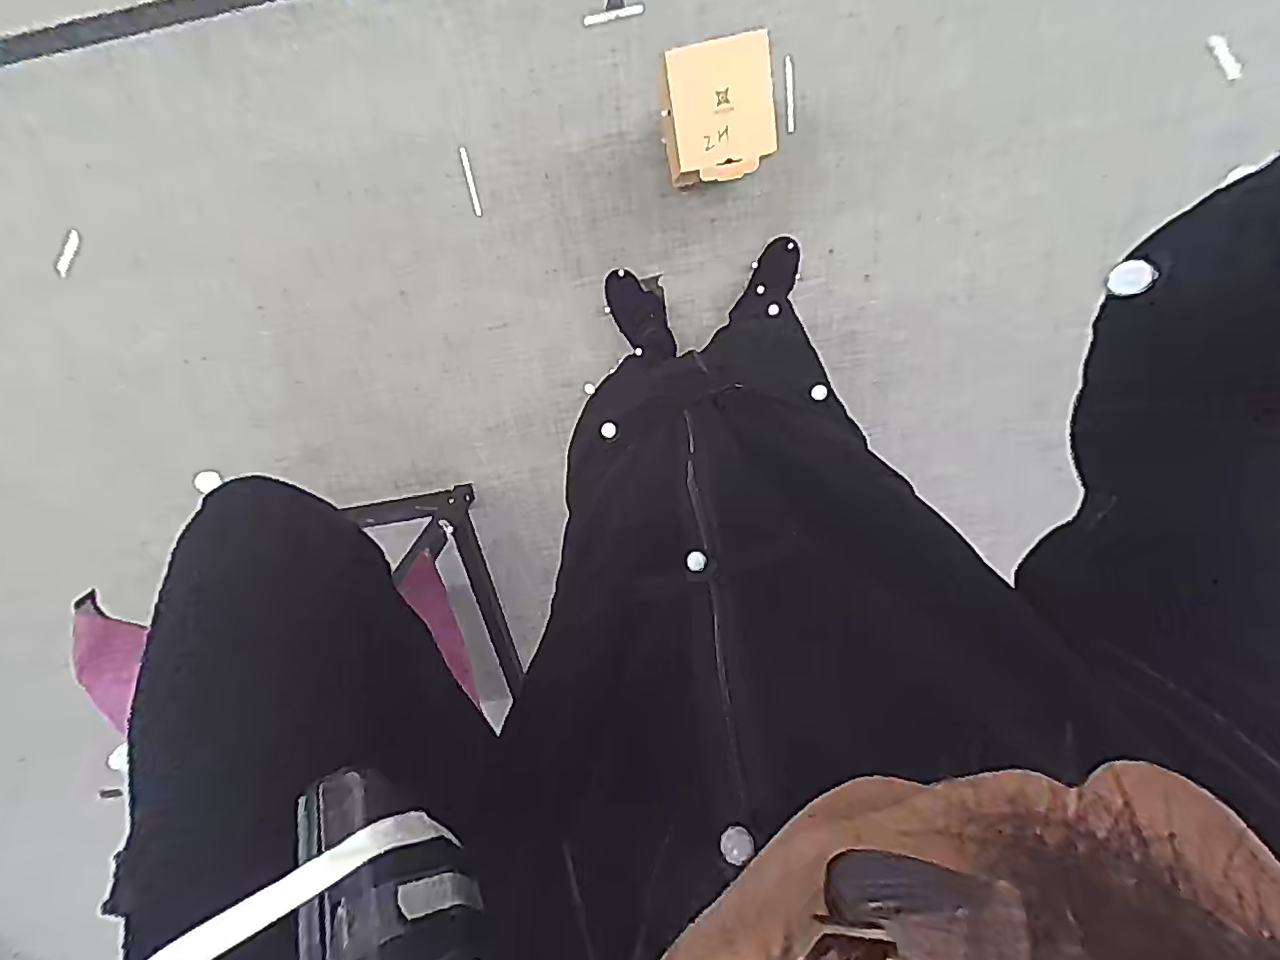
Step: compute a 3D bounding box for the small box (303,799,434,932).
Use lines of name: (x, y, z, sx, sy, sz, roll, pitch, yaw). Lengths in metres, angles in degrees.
small box: (-0.579, 0.839, 1.185, 0.168, 0.176, 0.179, -13, 114, 6)

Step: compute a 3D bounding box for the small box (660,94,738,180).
small box: (0.144, -0.803, 1.237, 0.168, 0.176, 0.179, -13, 114, 5)

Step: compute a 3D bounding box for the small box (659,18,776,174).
small box: (0.129, -0.653, 0.942, 0.168, 0.176, 0.179, -10, 115, 3)
